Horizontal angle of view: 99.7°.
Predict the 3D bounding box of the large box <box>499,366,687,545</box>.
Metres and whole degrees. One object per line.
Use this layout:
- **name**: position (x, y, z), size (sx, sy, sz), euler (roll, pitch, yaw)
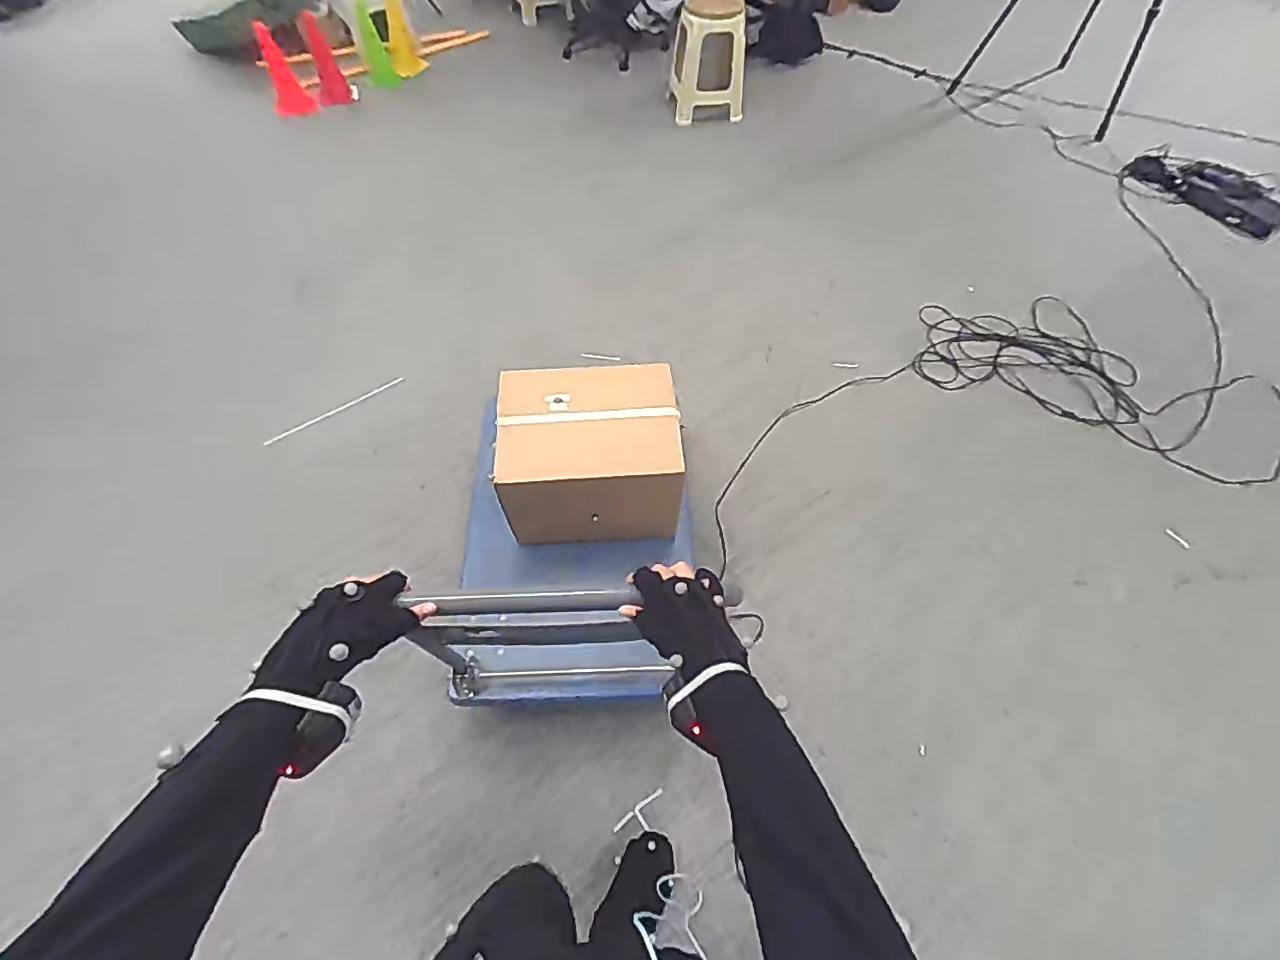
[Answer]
- **large box**: position (-0.111, -0.051, 1.340), size (0.408, 0.320, 0.320), euler (-5, 58, -3)
